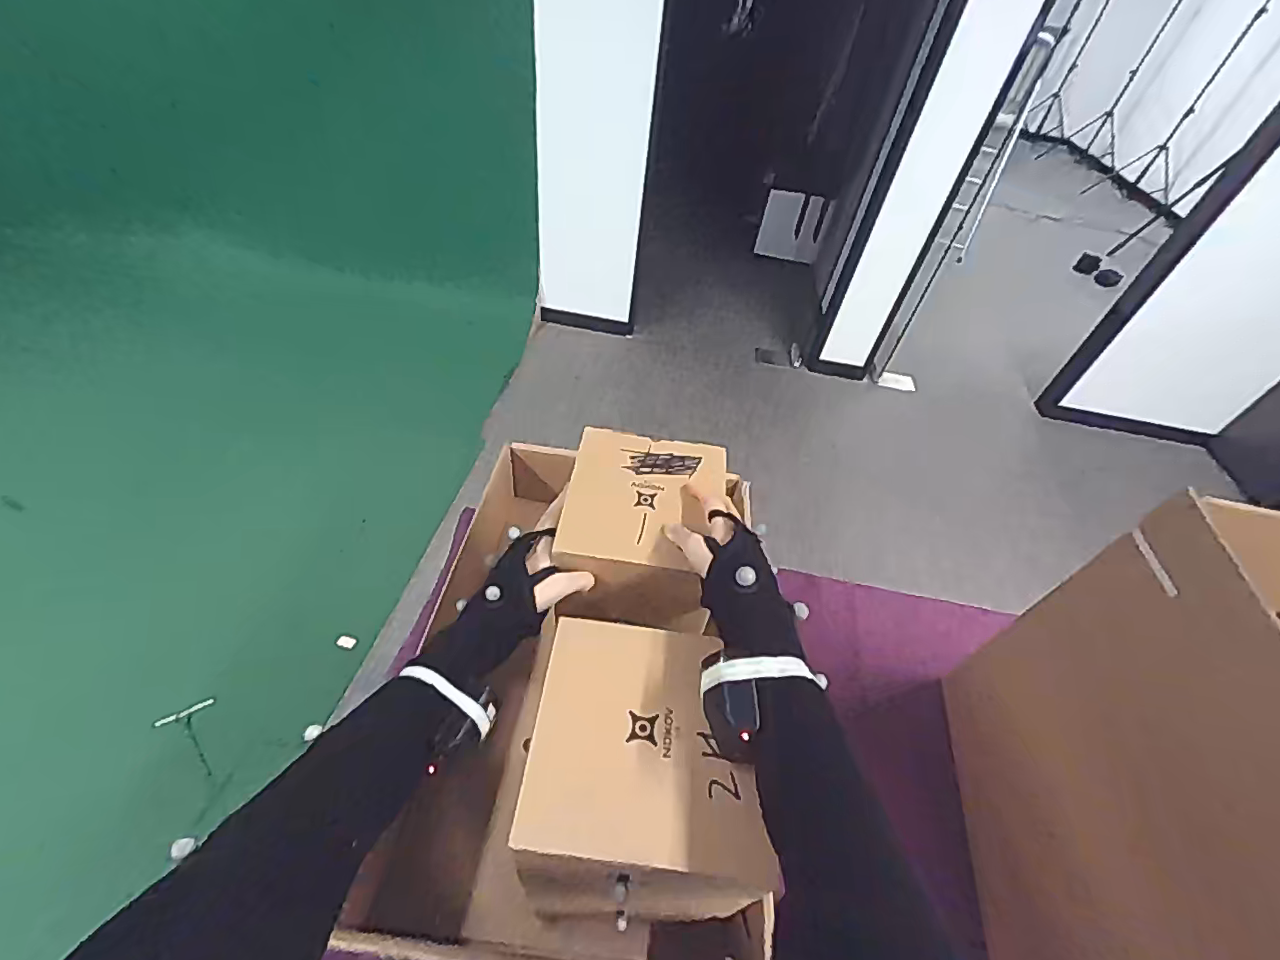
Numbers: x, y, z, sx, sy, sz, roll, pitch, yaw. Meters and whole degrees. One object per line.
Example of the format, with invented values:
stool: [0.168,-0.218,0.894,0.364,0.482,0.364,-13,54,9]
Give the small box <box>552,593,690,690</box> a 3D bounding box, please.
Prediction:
small box: [-0.021,0.170,0.742,0.168,0.176,0.179,6,49,-2]

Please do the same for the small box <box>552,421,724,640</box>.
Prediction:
small box: [-0.002,0.060,0.623,0.168,0.176,0.179,8,50,1]
